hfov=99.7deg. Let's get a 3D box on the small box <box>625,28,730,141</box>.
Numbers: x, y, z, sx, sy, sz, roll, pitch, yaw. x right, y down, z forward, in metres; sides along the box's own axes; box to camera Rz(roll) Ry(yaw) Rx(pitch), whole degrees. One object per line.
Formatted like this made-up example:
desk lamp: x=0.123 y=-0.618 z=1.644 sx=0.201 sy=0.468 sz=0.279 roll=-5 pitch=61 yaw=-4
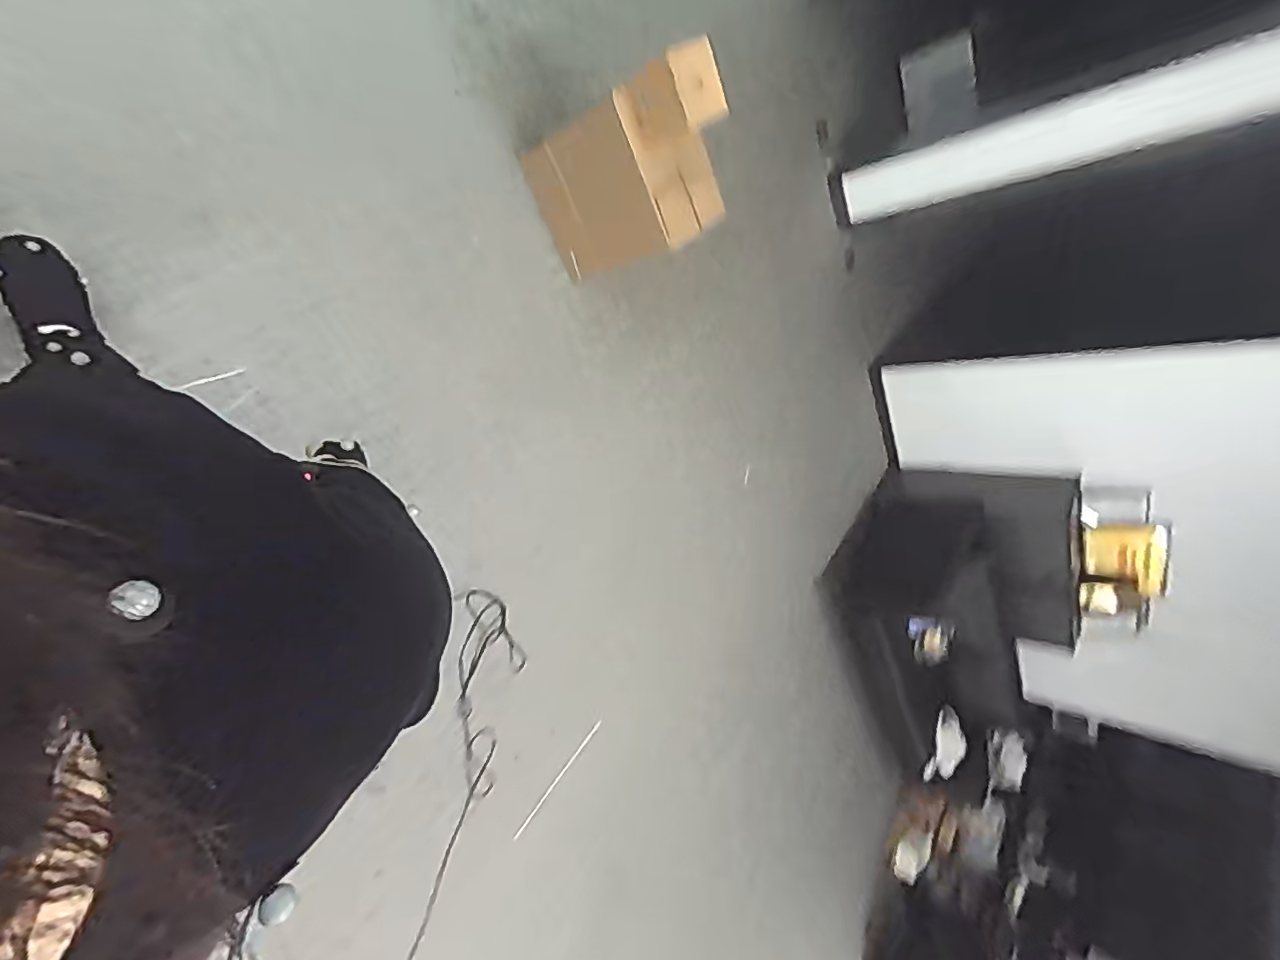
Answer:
small box: x=0.095 y=-0.992 z=1.364 sx=0.179 sy=0.176 sz=0.168 roll=-46 pitch=125 yaw=-28
